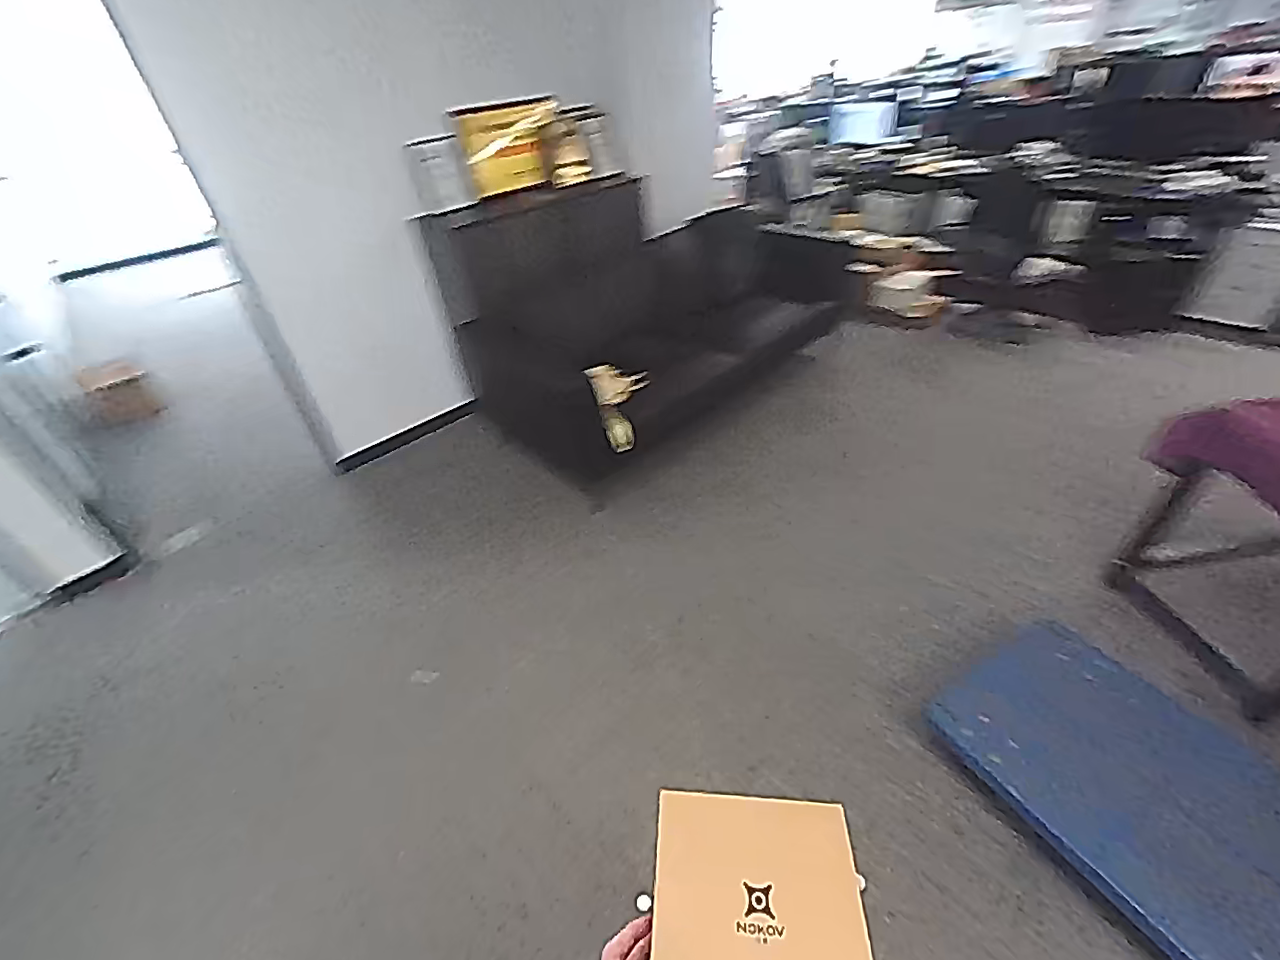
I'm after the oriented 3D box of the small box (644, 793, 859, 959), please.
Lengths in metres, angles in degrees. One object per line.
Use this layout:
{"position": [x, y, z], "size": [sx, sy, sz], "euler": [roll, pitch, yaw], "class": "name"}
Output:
{"position": [0.088, 0.412, 0.480], "size": [0.168, 0.176, 0.179], "euler": [2, 38, 5], "class": "small box"}
